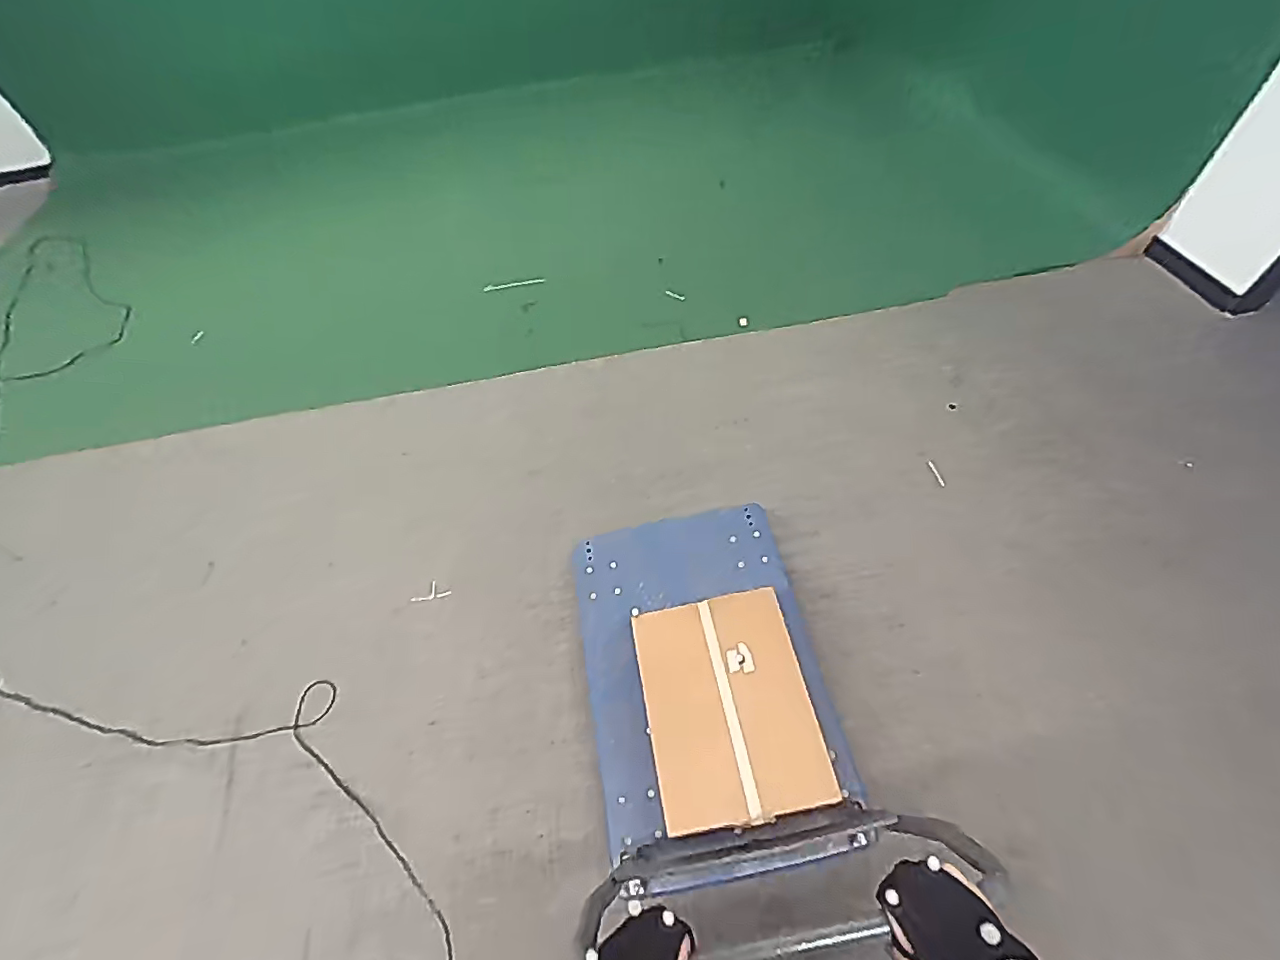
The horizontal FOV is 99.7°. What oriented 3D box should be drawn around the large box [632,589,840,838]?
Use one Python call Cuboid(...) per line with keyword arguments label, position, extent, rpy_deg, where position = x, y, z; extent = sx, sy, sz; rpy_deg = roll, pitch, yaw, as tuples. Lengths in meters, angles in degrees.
Cuboid(label="large box", position=(0.184, 0.508, 1.172), extent=(0.320, 0.320, 0.408), rpy_deg=(-12, 55, -1))
